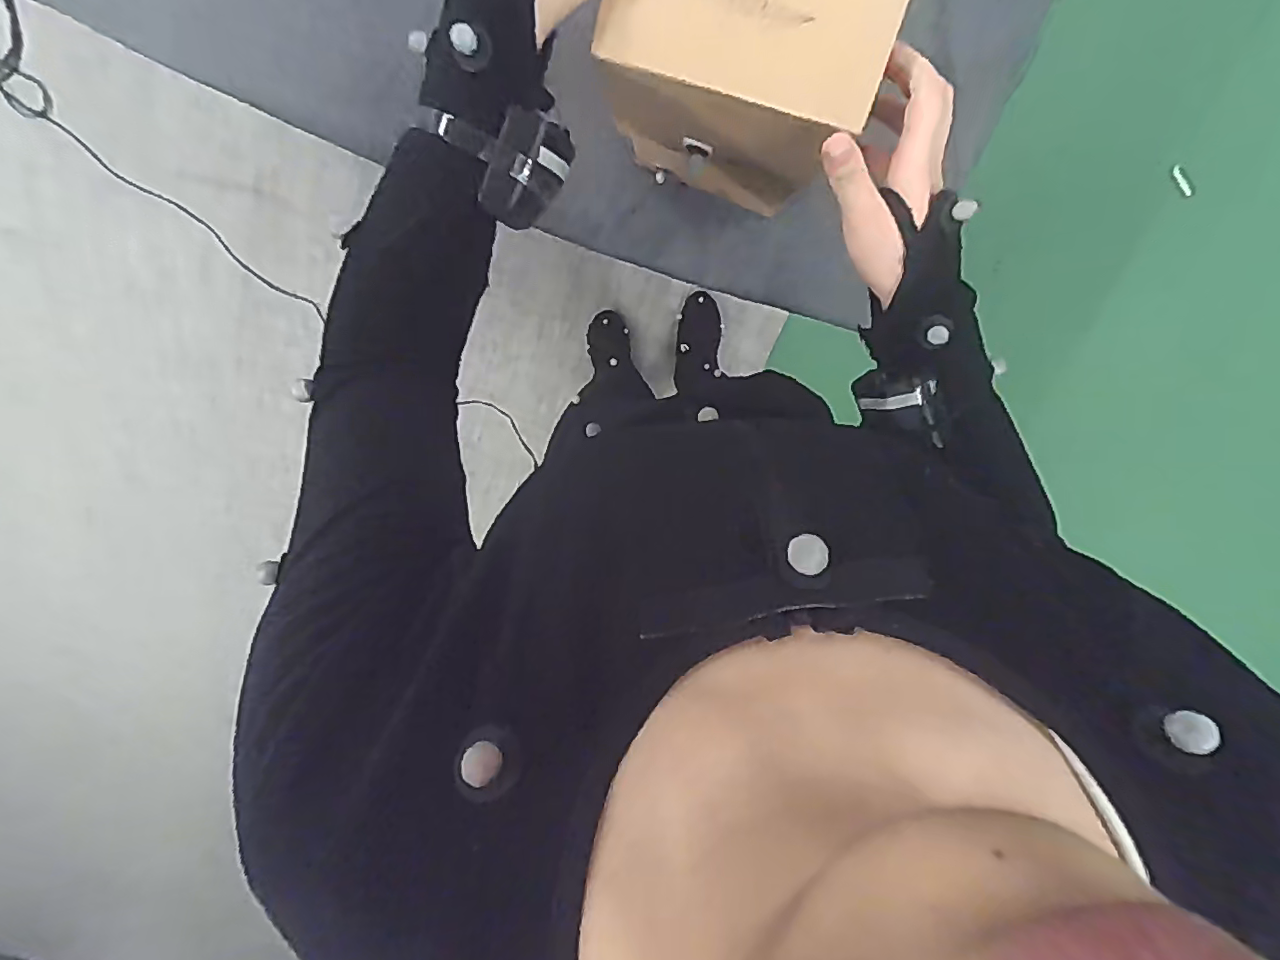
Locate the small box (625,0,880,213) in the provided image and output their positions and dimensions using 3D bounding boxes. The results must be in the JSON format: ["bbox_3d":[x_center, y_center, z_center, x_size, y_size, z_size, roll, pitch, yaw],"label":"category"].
[{"bbox_3d":[0.098,-0.379,0.513,0.168,0.176,0.179,21,107,-3],"label":"small box"}]

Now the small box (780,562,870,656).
[{"bbox_3d":[0.516,0.360,1.539,0.168,0.176,0.179,20,110,-3],"label":"small box"}]
